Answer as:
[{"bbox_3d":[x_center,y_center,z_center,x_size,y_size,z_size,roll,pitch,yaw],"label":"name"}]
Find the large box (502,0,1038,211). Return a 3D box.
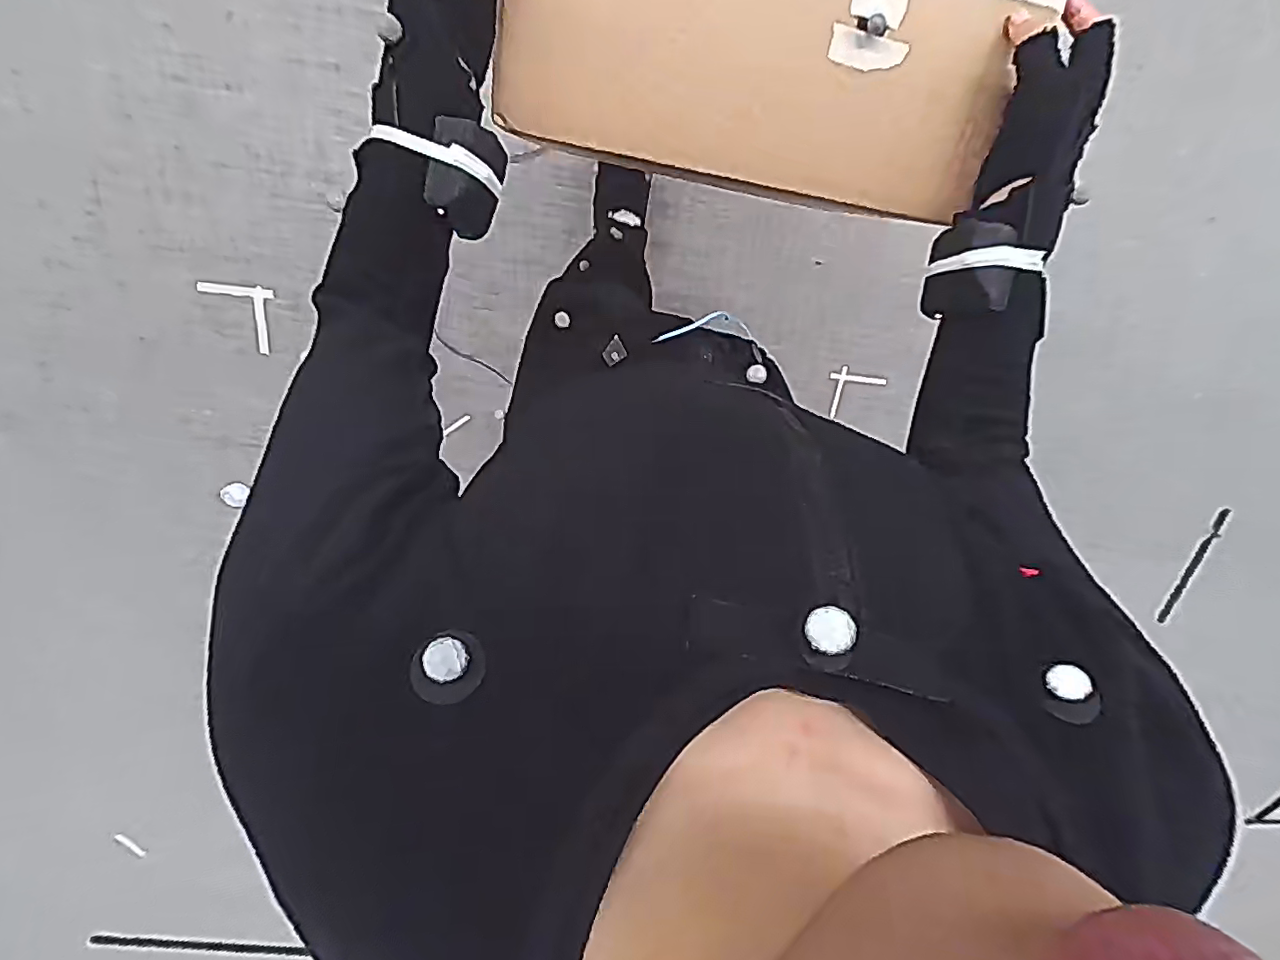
[{"bbox_3d":[0.099,-0.464,0.513,0.408,0.320,0.320,8,119,-8],"label":"large box"}]
